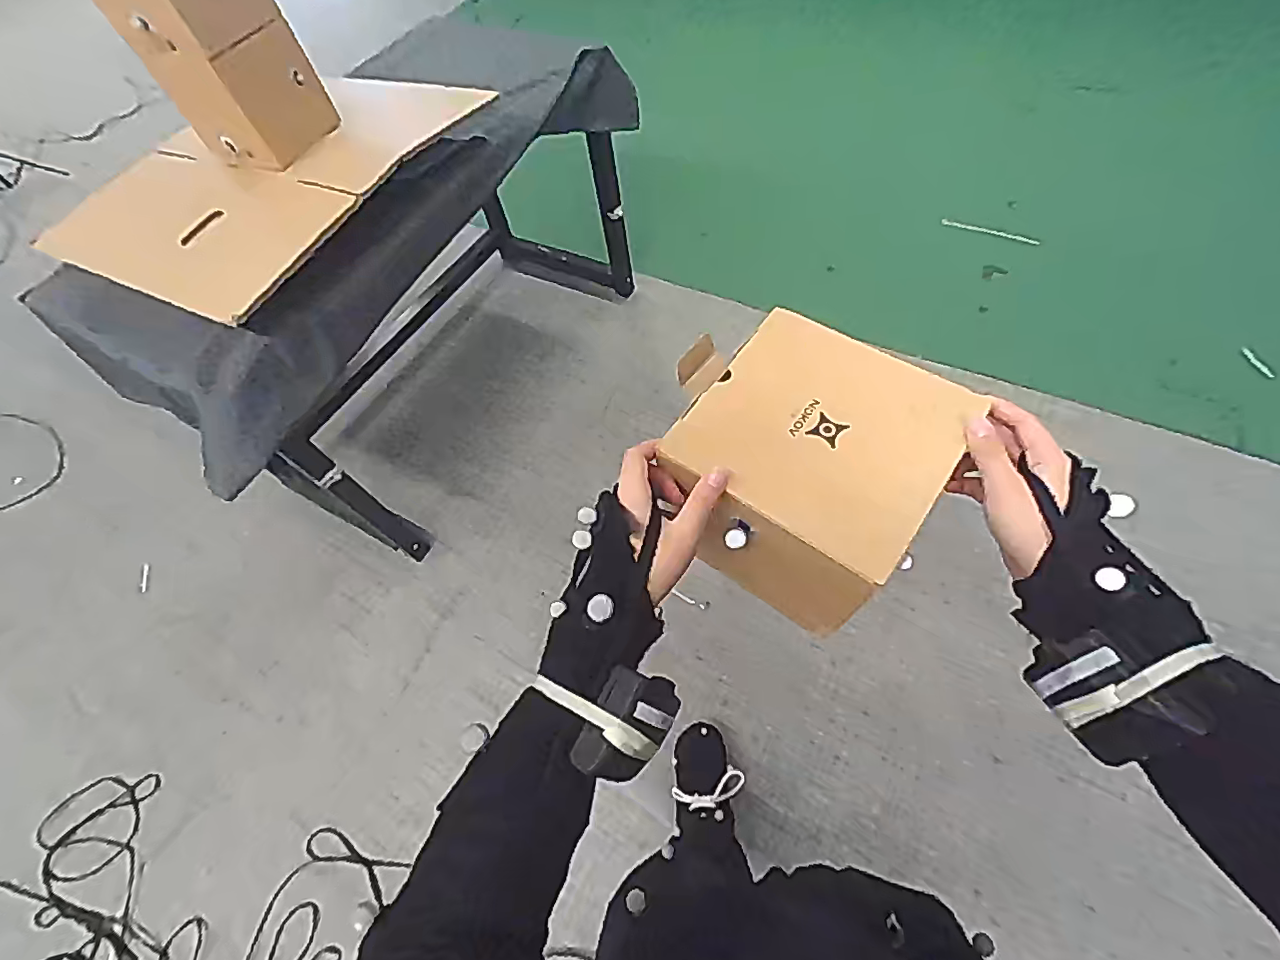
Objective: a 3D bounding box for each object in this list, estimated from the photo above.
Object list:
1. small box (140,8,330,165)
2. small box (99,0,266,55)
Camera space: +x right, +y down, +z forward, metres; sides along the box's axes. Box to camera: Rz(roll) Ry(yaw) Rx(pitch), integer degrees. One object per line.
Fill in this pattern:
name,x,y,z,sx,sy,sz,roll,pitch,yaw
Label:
small box,-0.689,-0.688,0.949,0.168,0.176,0.179,14,63,18
small box,-0.714,-0.776,0.812,0.168,0.176,0.179,13,62,18
